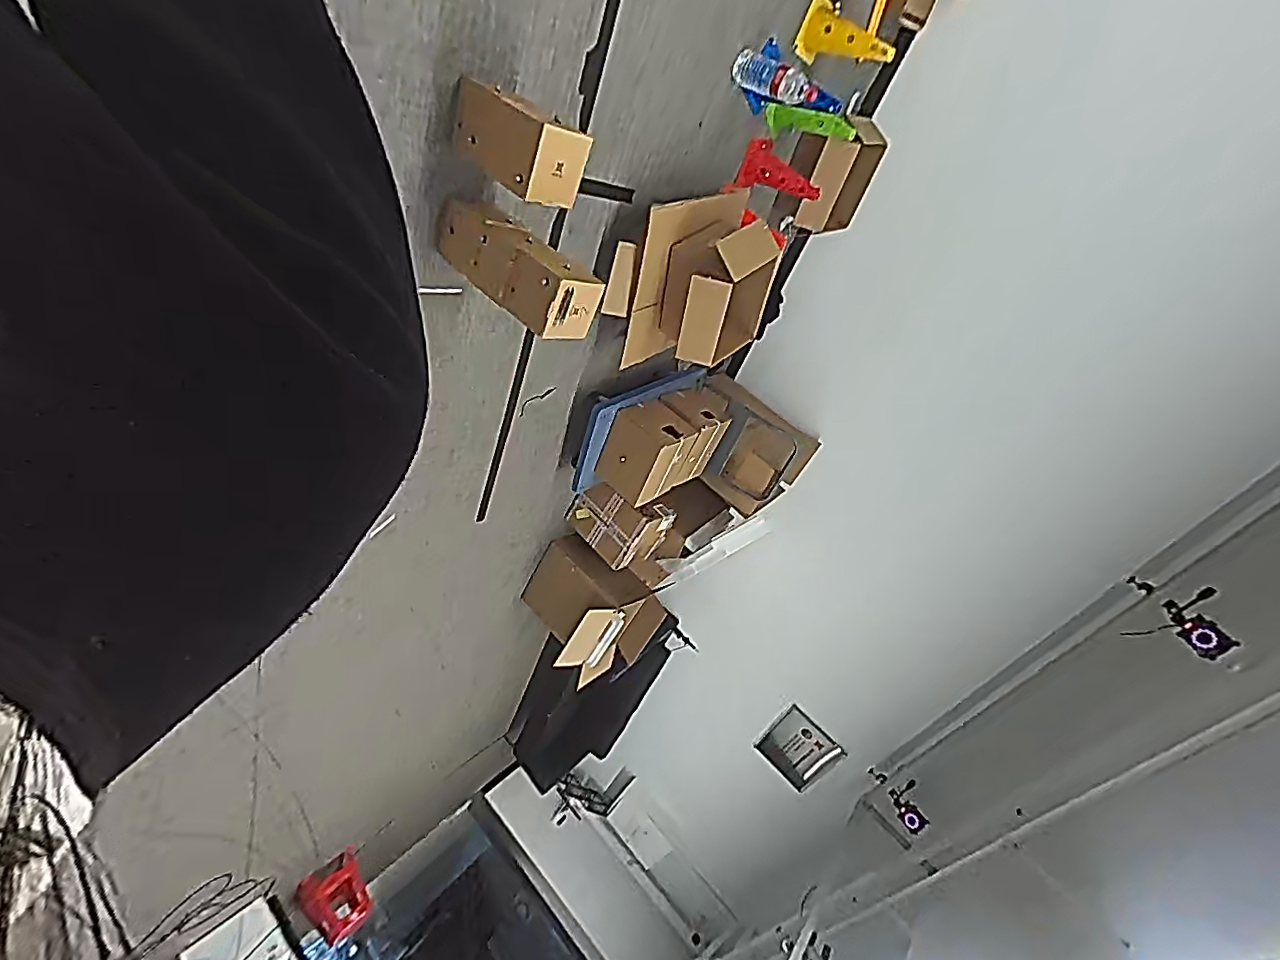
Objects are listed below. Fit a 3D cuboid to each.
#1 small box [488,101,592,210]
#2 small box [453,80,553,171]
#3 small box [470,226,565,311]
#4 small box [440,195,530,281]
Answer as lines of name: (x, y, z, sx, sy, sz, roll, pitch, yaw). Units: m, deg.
small box: (-0.256, -0.810, 1.354, 0.168, 0.176, 0.179, -23, 148, -48)
small box: (-0.364, -0.914, 1.417, 0.179, 0.176, 0.168, -26, 150, -48)
small box: (-0.350, -0.595, 1.526, 0.179, 0.176, 0.168, -21, 146, -51)
small box: (-0.461, -0.700, 1.589, 0.168, 0.176, 0.179, -19, 144, -52)
